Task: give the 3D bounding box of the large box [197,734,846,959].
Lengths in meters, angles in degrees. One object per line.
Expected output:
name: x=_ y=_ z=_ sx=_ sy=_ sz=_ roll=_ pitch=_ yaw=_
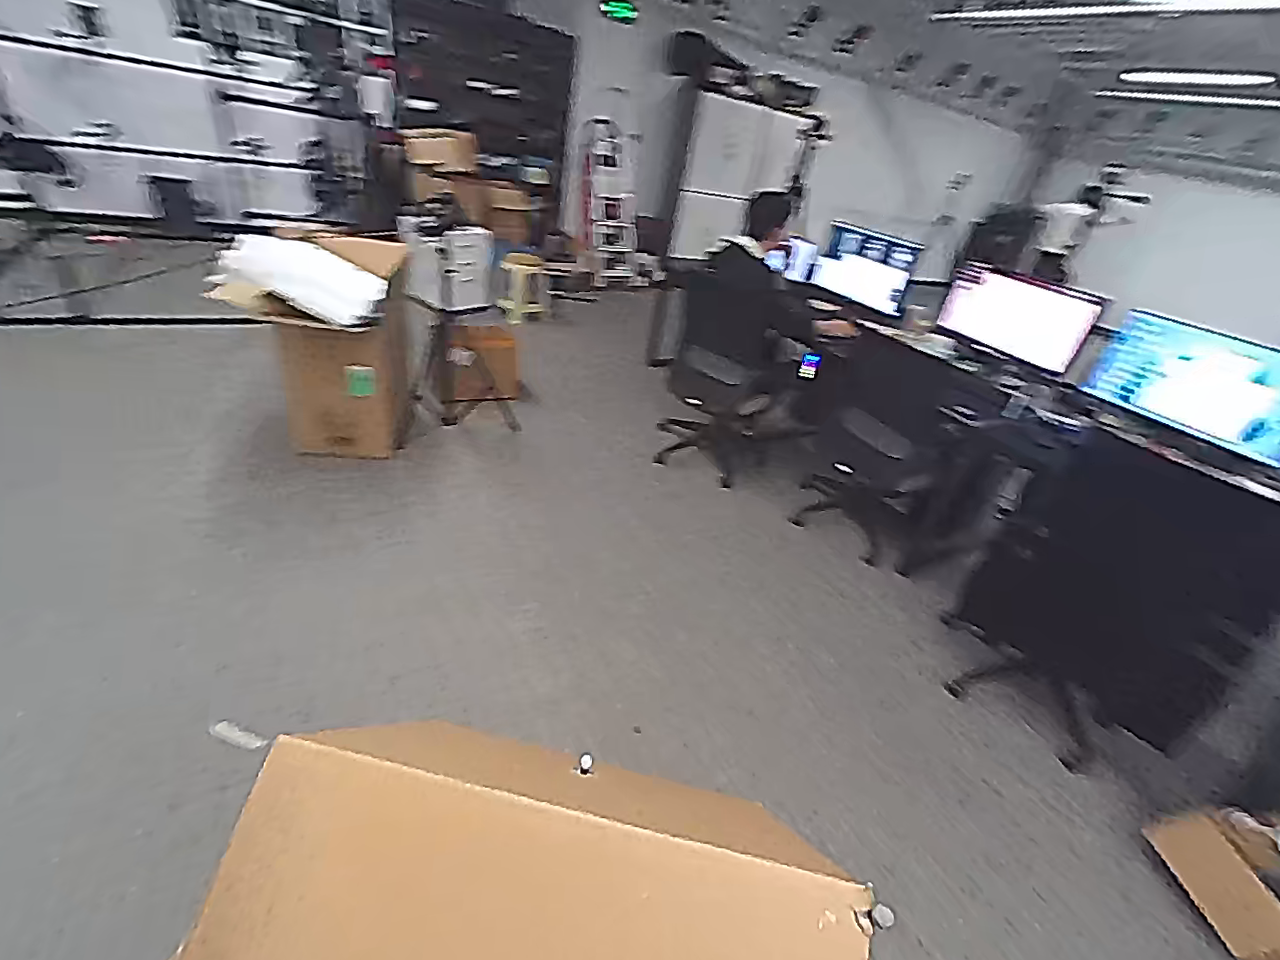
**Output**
large box: x=-0.092 y=0.419 z=0.449 sx=0.408 sy=0.320 sz=0.320 roll=12 pitch=69 yaw=2
